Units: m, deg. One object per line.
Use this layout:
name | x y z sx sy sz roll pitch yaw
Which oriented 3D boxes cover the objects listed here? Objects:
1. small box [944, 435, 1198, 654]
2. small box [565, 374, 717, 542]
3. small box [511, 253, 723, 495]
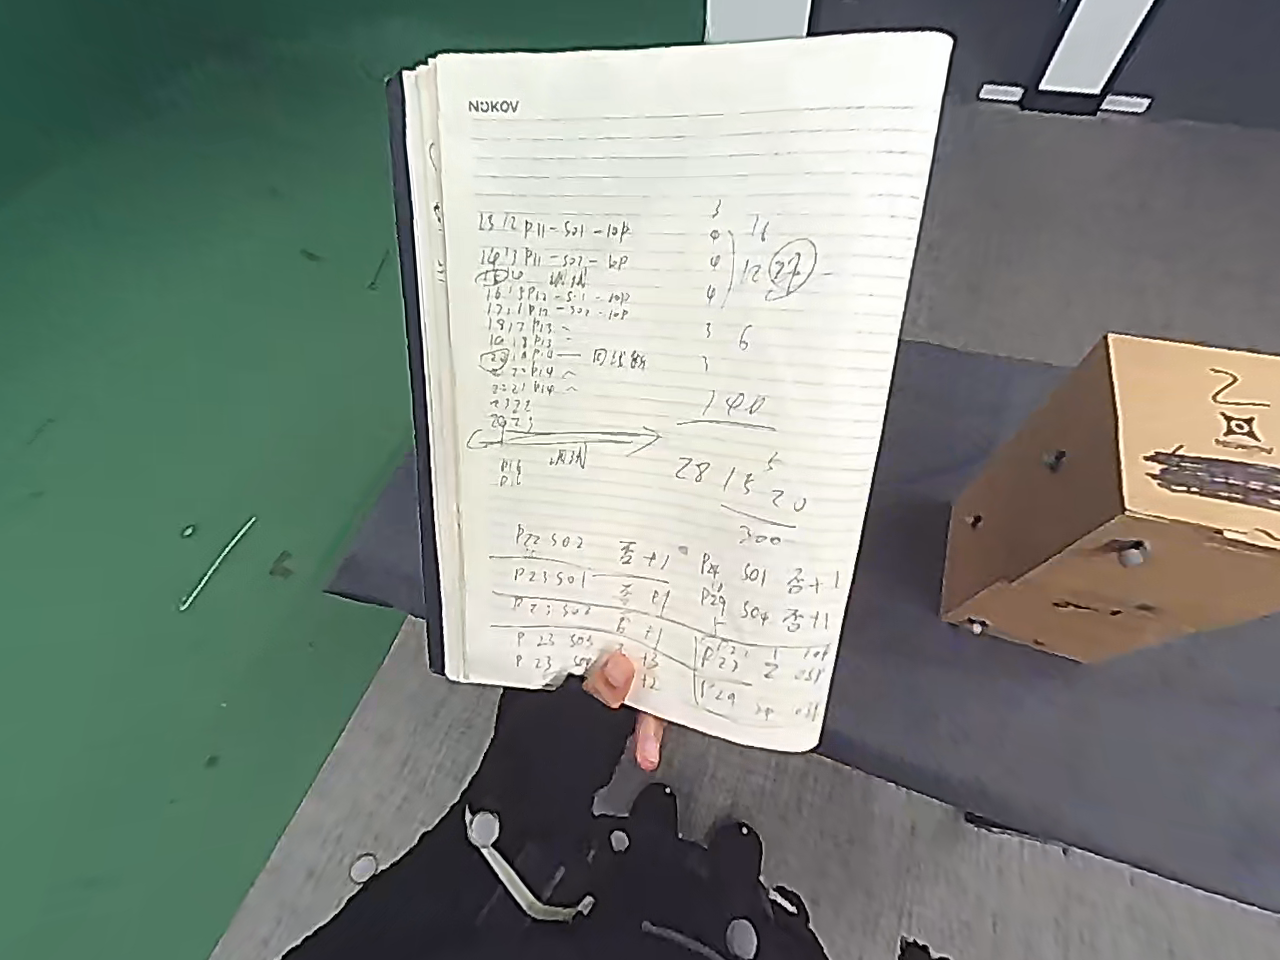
small box | 0.471 0.081 0.619 0.168 0.176 0.179 15 63 14
small box | 0.003 -0.040 0.733 0.168 0.176 0.179 12 63 12
small box | -0.013 -0.110 0.587 0.168 0.176 0.179 13 63 12
